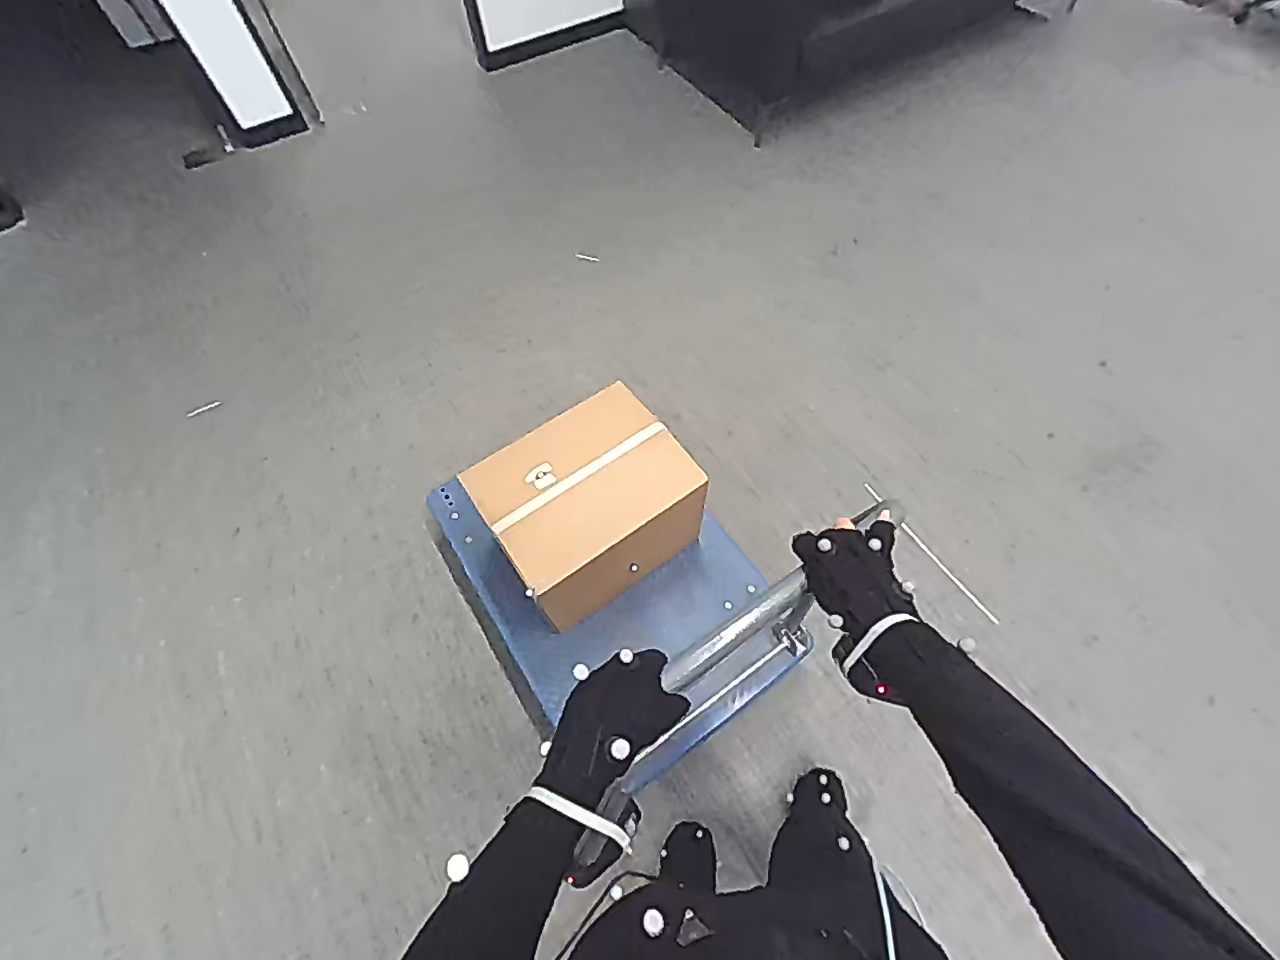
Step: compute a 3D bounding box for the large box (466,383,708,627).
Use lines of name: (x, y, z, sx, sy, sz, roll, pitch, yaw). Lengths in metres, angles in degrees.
large box: (-0.103, 0.065, 1.218, 0.408, 0.320, 0.320, -34, 66, -14)
